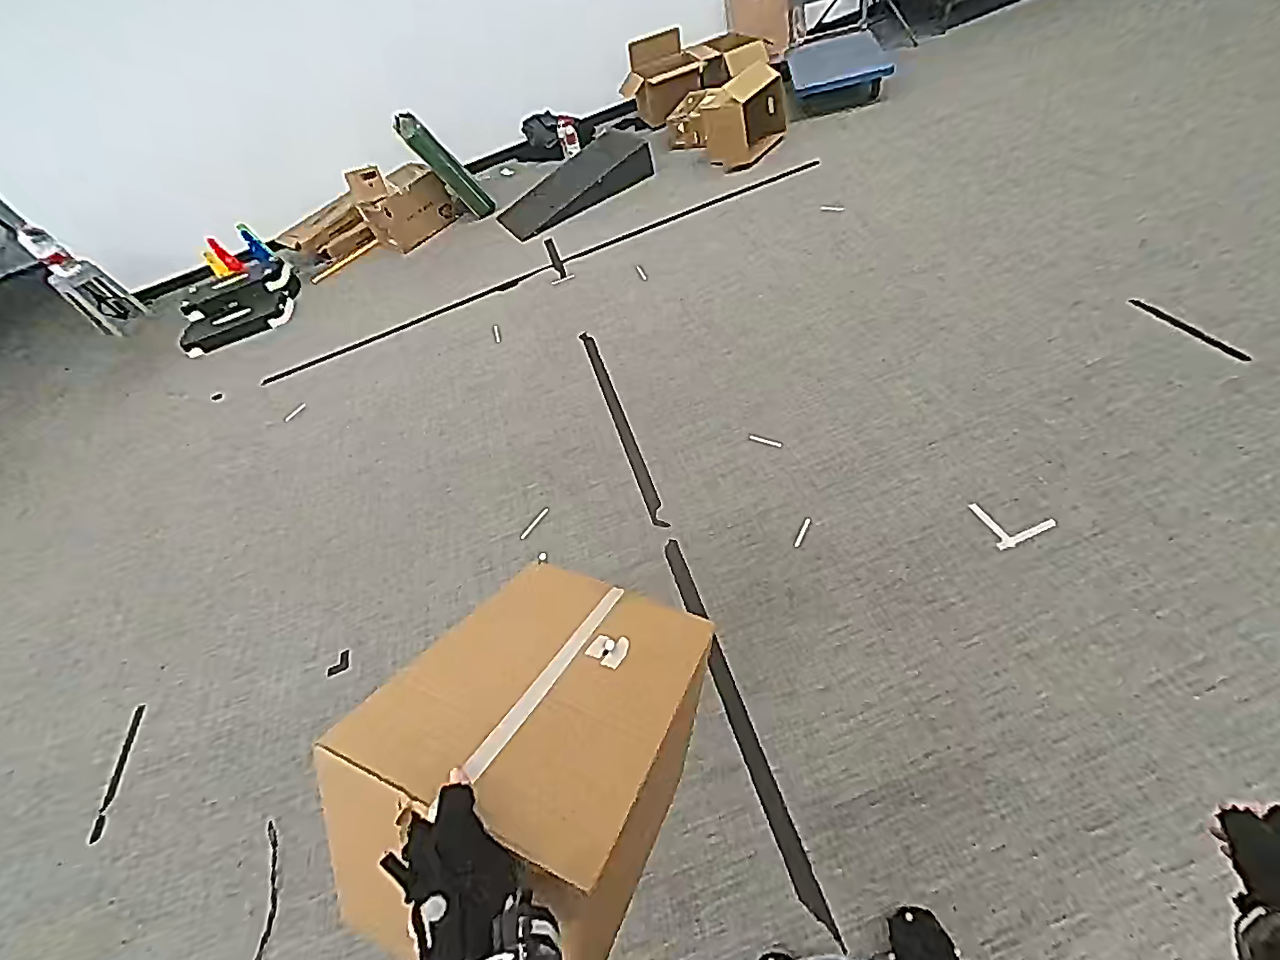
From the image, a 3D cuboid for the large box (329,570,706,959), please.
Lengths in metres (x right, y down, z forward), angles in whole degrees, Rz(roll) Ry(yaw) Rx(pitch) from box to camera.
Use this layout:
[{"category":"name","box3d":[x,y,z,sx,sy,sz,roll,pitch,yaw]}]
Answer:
[{"category":"large box","box3d":[-0.129,0.385,0.733,0.320,0.320,0.408,16,24,17]}]
